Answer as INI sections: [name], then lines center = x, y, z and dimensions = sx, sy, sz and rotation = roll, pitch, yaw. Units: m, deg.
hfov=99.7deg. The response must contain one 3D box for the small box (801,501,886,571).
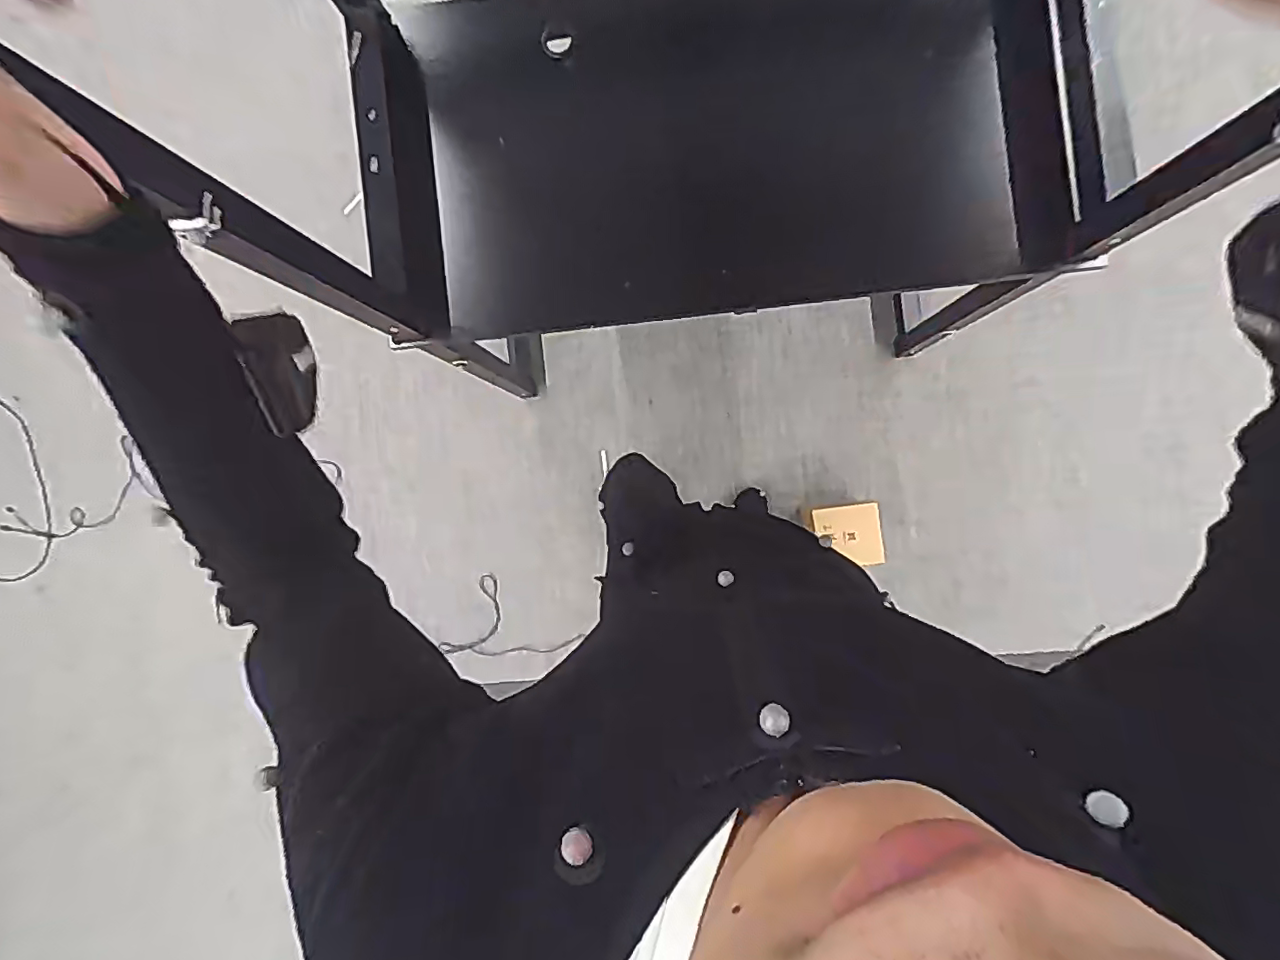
[small box]
center = 0.567, 0.153, 1.526
dimensions = 0.179, 0.176, 0.168
rotation = -8, 89, 5
